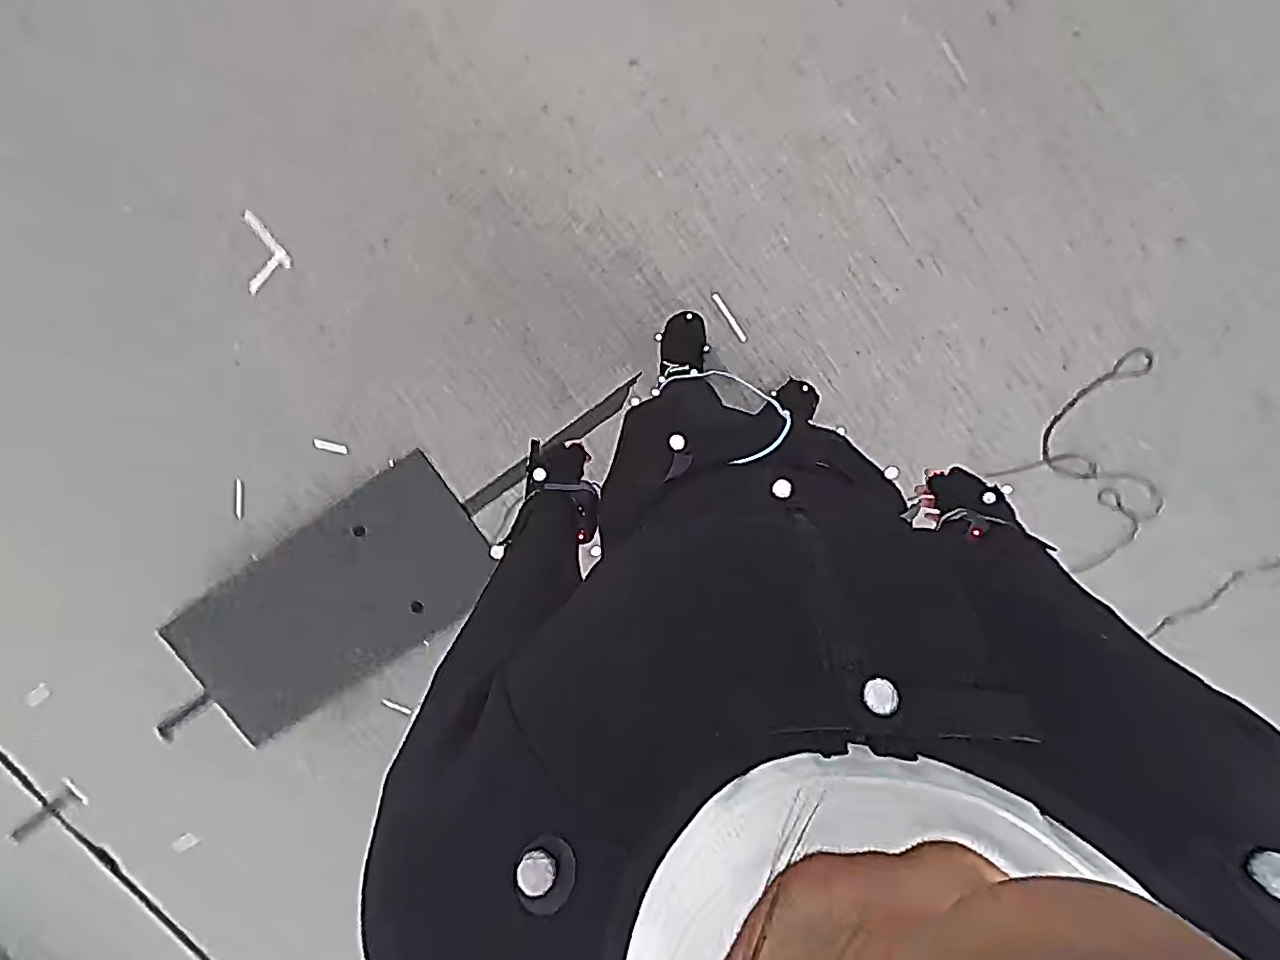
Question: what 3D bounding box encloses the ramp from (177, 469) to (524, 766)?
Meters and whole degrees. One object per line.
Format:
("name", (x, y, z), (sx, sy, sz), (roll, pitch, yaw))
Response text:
("ramp", (-0.891, 0.434, 1.658), (0.991, 0.206, 0.509), (-35, 94, 15))
